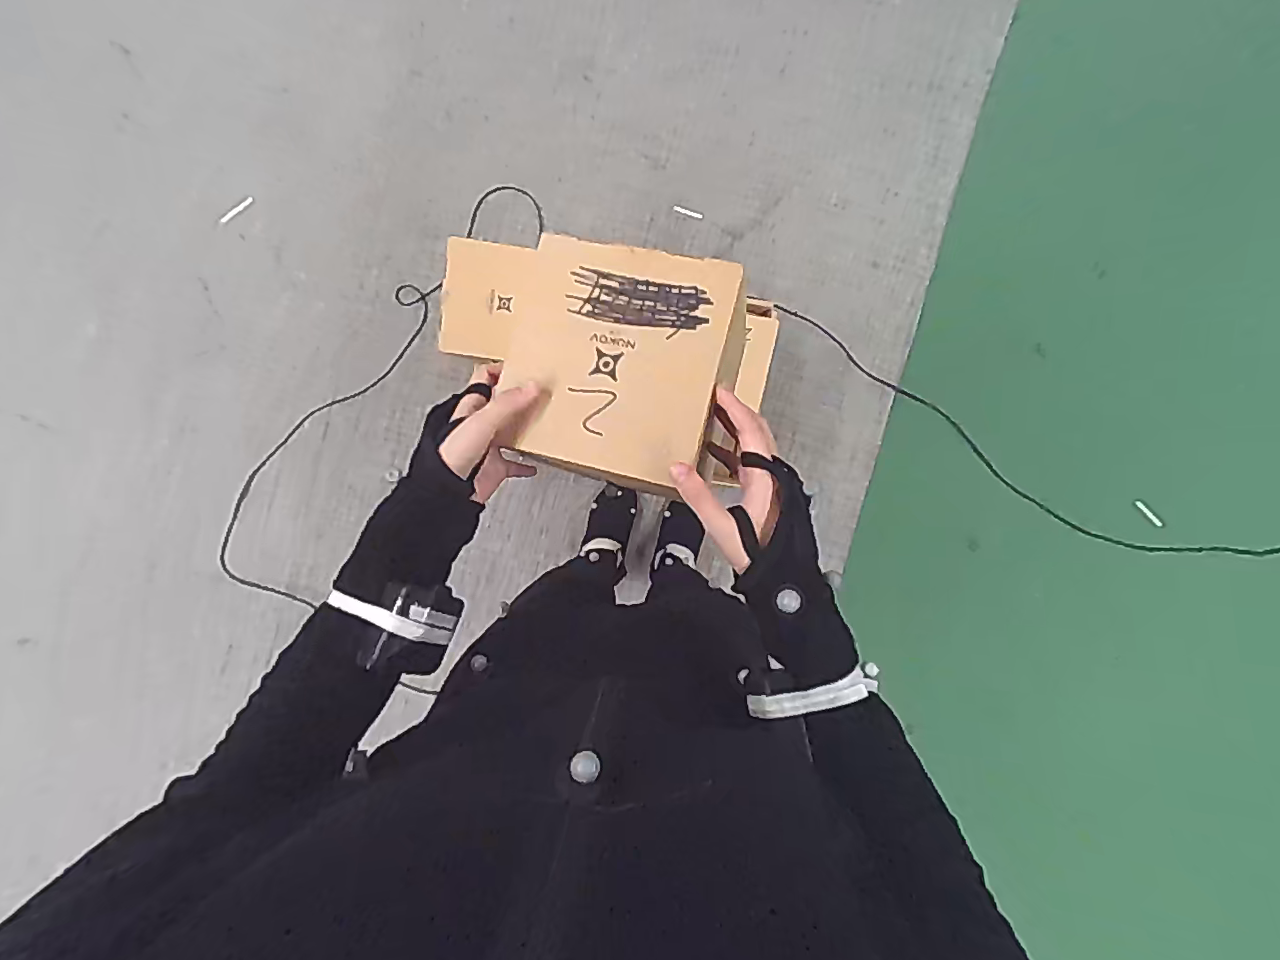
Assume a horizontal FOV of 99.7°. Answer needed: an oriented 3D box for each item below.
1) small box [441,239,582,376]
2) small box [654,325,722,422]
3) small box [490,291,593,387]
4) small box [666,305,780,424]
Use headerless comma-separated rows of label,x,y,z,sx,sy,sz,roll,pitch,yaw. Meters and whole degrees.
small box,-0.195,-0.264,0.867,0.179,0.176,0.168,9,96,0
small box,0.133,-0.225,1.195,0.179,0.176,0.168,14,94,0
small box,-0.195,-0.278,1.028,0.179,0.176,0.168,14,95,-2
small box,0.147,-0.209,1.031,0.168,0.176,0.179,13,93,-2
